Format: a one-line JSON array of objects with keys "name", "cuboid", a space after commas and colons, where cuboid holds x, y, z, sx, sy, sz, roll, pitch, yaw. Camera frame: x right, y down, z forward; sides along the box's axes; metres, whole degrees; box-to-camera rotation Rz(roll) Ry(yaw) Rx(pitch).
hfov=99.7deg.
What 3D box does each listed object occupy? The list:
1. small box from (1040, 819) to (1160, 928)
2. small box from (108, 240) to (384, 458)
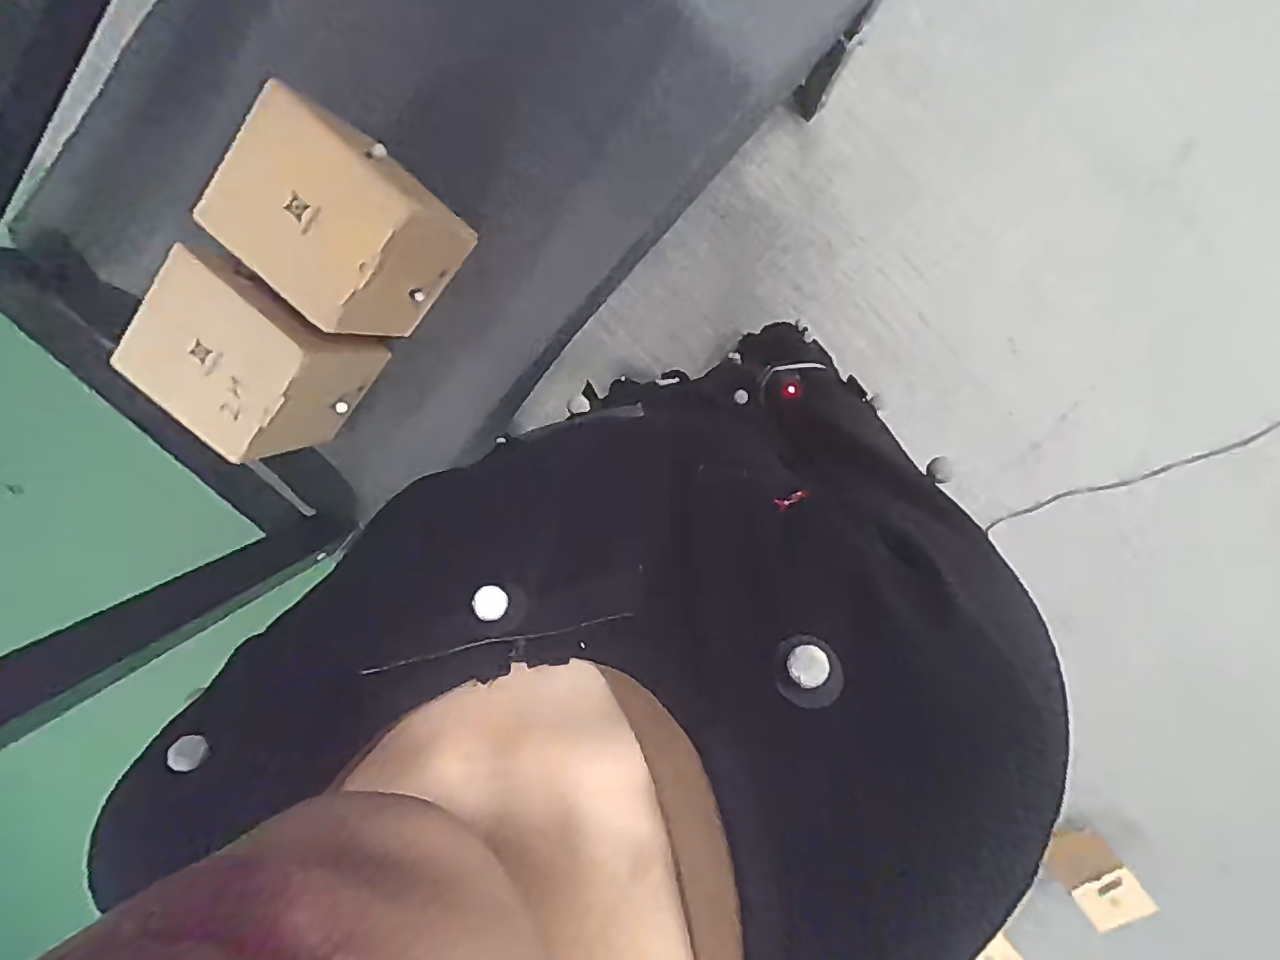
[{"name": "small box", "cuboid": [1.309, 1.119, 1.555, 0.168, 0.176, 0.179, -37, 98, 14]}, {"name": "small box", "cuboid": [-0.461, -0.153, 0.659, 0.179, 0.176, 0.168, 41, 104, -5]}]
